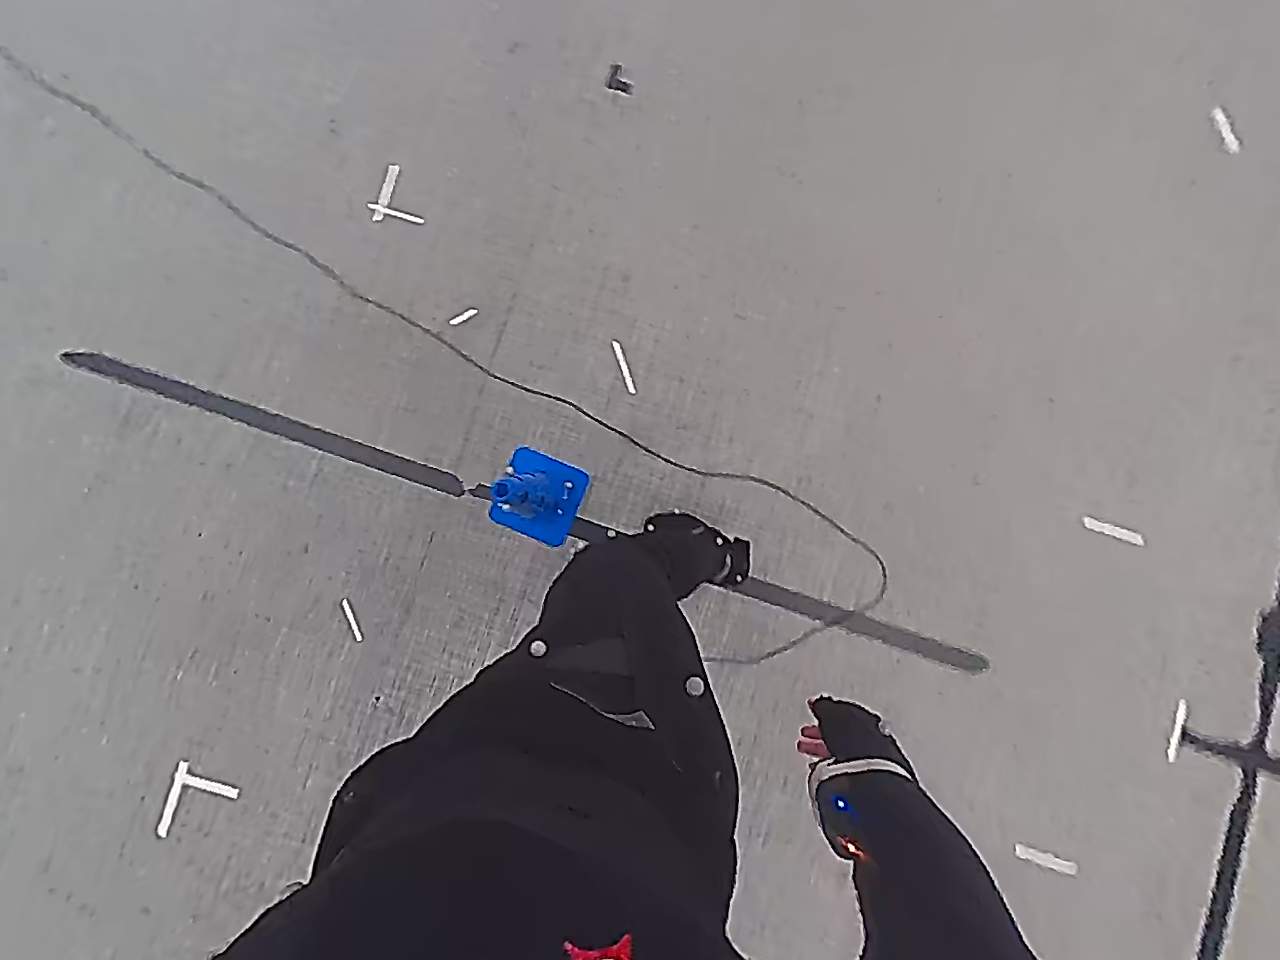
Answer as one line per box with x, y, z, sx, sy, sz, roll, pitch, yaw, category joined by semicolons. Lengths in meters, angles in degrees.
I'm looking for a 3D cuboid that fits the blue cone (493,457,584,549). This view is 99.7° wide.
-0.245;0.039;1.133;0.192;0.380;0.193;21;85;2;blue cone
